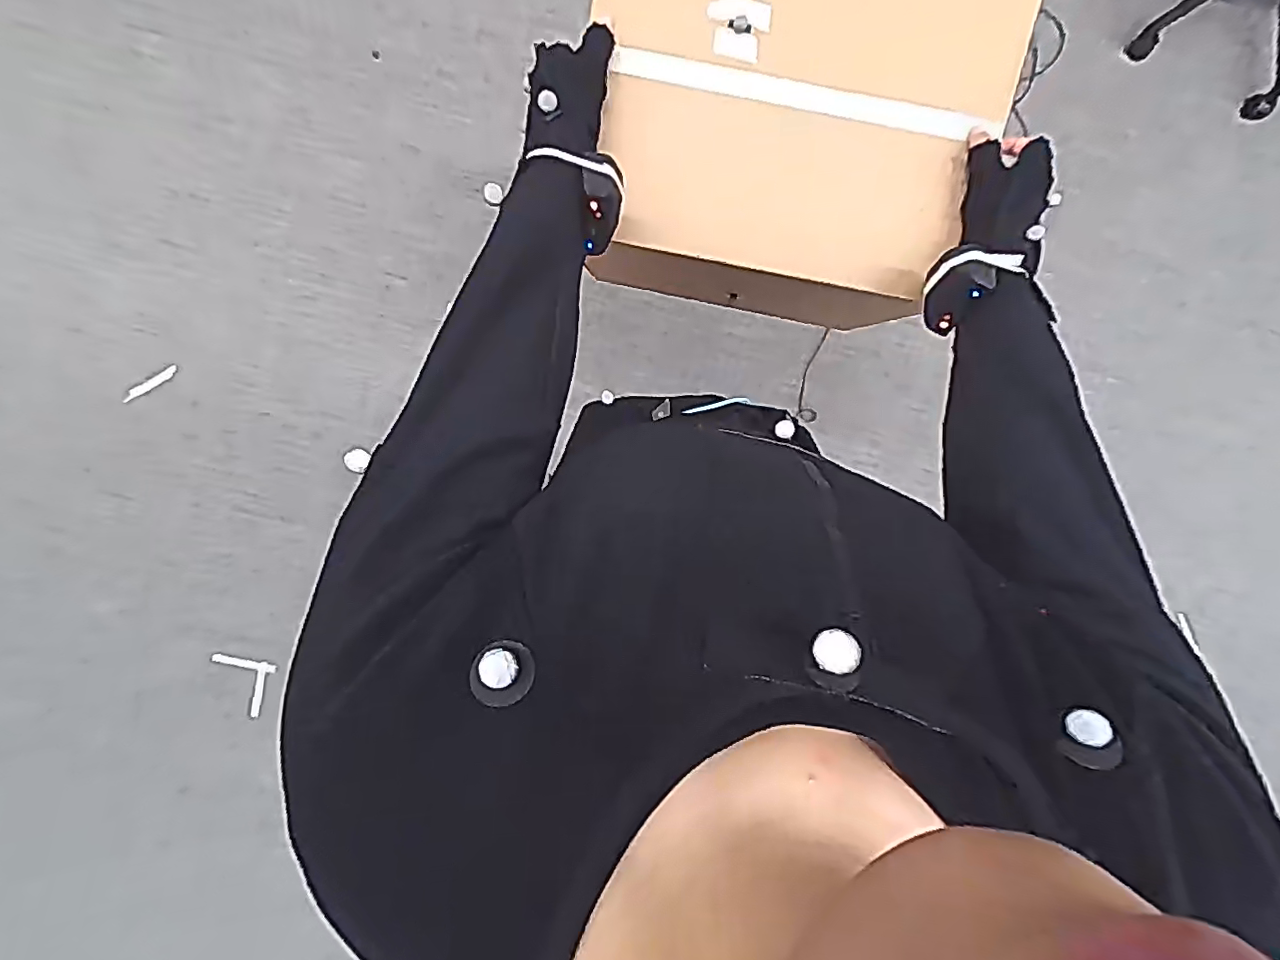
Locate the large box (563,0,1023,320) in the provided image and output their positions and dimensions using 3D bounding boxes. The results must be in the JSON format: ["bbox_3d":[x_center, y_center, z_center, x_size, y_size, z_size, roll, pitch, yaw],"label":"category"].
[{"bbox_3d":[0.147,-0.397,0.672,0.408,0.320,0.320,11,101,-1],"label":"large box"}]
